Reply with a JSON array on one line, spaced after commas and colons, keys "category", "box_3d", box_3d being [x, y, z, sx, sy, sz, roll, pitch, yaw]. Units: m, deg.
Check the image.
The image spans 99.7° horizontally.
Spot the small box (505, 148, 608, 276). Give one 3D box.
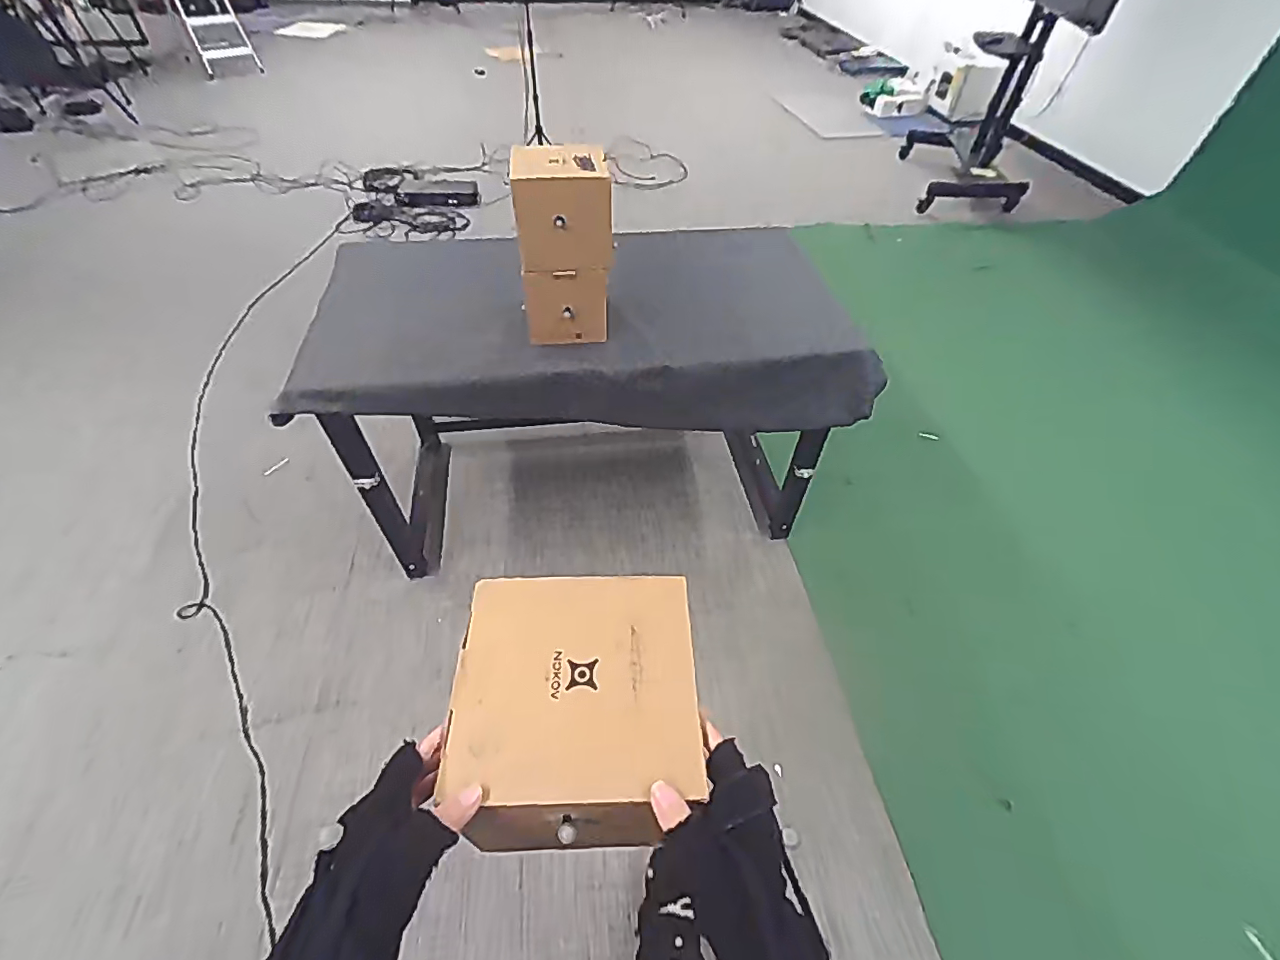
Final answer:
[{"category": "small box", "box_3d": [-0.155, -0.511, 1.036, 0.179, 0.176, 0.168, -6, 49, -5]}]

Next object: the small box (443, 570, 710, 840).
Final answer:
[{"category": "small box", "box_3d": [-0.045, 0.193, 0.458, 0.179, 0.176, 0.168, -2, 49, -3]}]

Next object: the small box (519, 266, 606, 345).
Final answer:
[{"category": "small box", "box_3d": [-0.163, -0.404, 1.161, 0.168, 0.176, 0.179, -5, 49, -5]}]
